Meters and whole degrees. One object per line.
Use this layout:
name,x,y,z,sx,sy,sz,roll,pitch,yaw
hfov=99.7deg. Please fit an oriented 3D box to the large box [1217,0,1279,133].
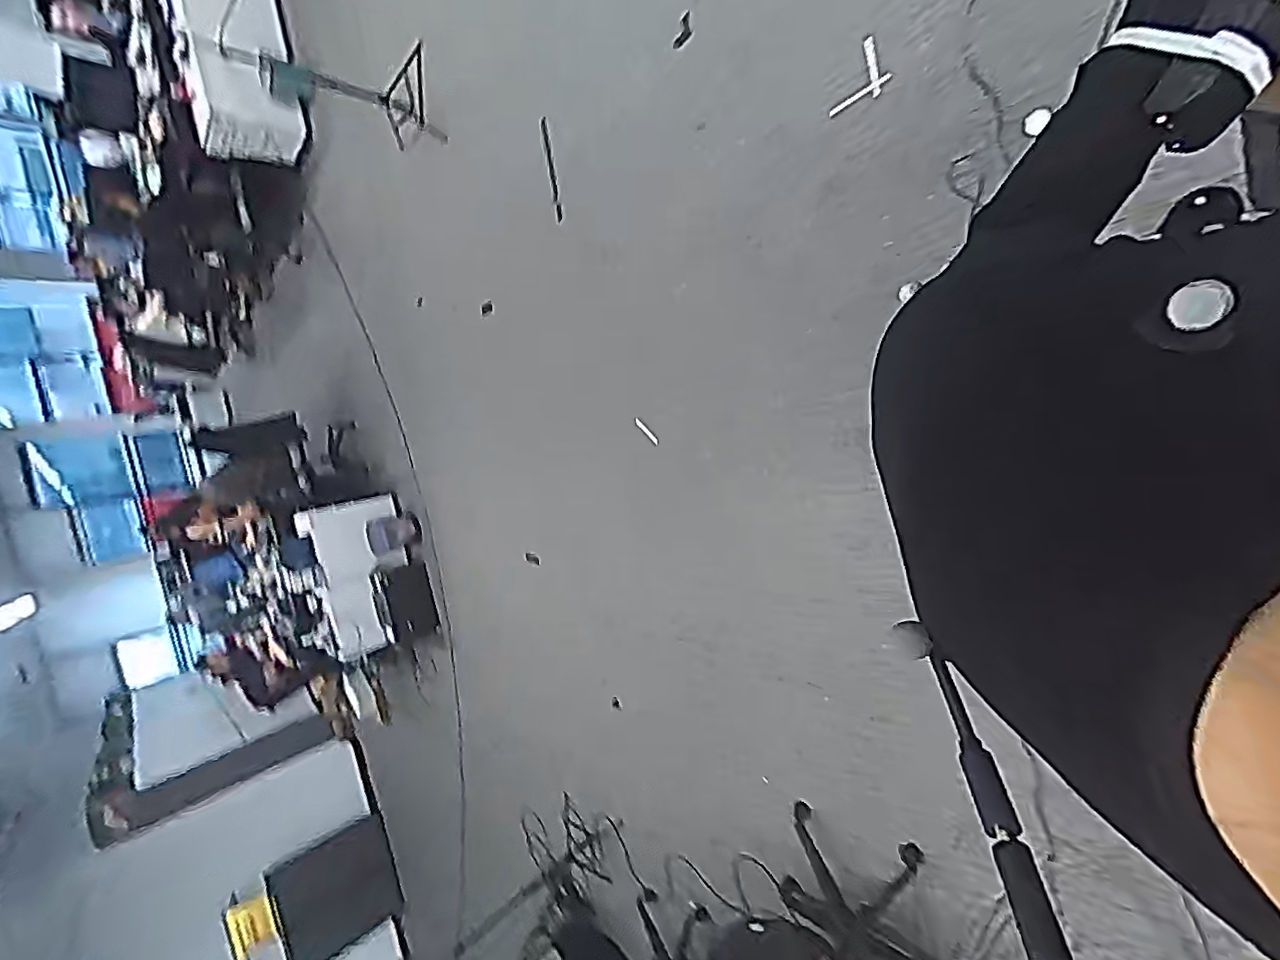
large box,0.640,-0.341,0.258,0.408,0.320,0.320,36,129,29
